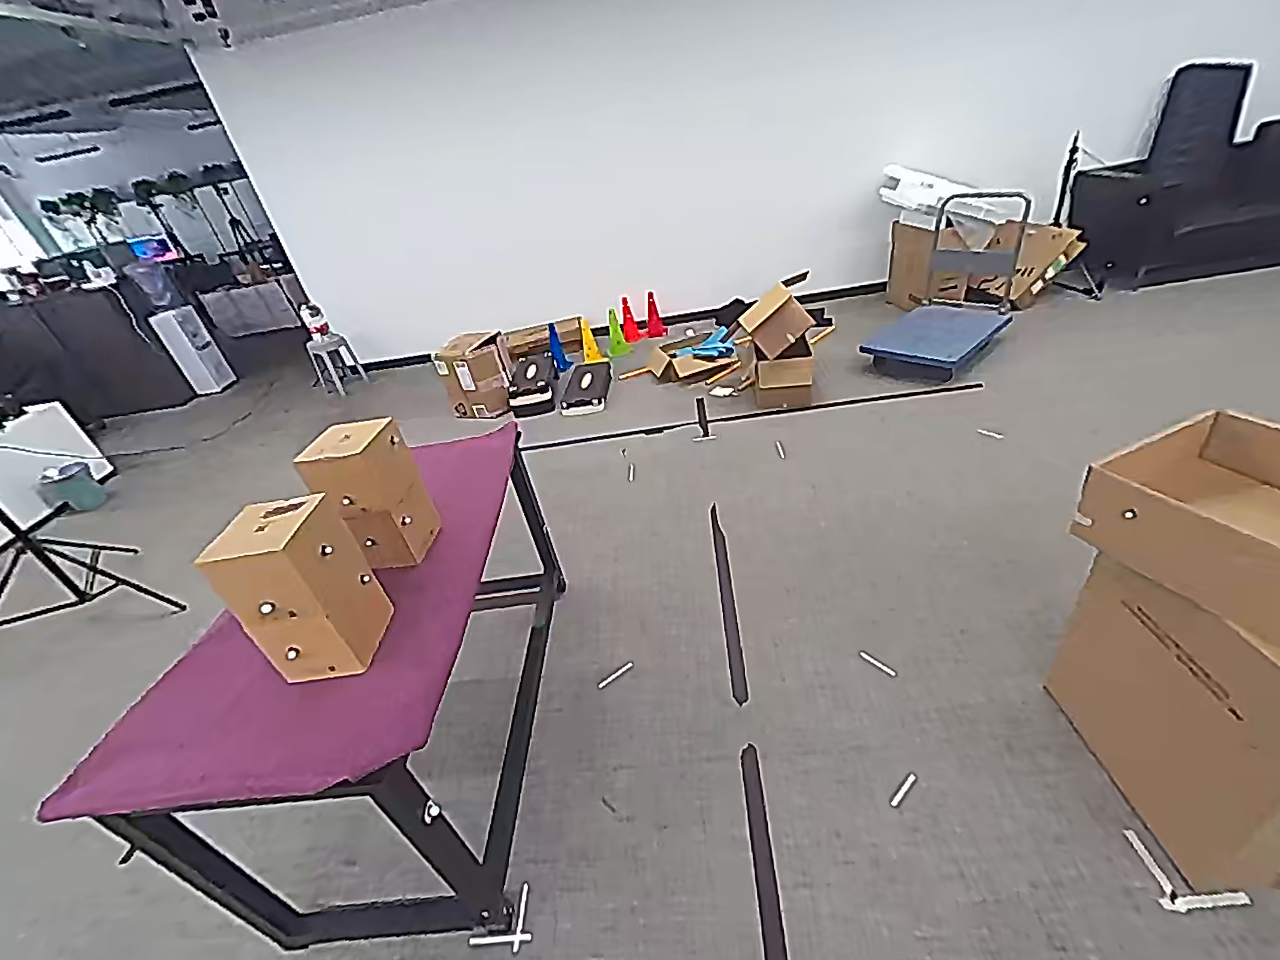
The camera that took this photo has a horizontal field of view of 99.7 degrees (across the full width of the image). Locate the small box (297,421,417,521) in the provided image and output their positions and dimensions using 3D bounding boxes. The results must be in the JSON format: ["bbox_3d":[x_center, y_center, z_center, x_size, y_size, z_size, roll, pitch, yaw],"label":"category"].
[{"bbox_3d":[-0.663,-0.021,1.296,0.168,0.176,0.179,-7,33,8],"label":"small box"}]

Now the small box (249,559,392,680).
[{"bbox_3d":[-0.645,0.293,1.121,0.168,0.176,0.179,-9,32,3],"label":"small box"}]

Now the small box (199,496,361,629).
[{"bbox_3d":[-0.668,0.156,1.033,0.168,0.176,0.179,-10,33,3],"label":"small box"}]
